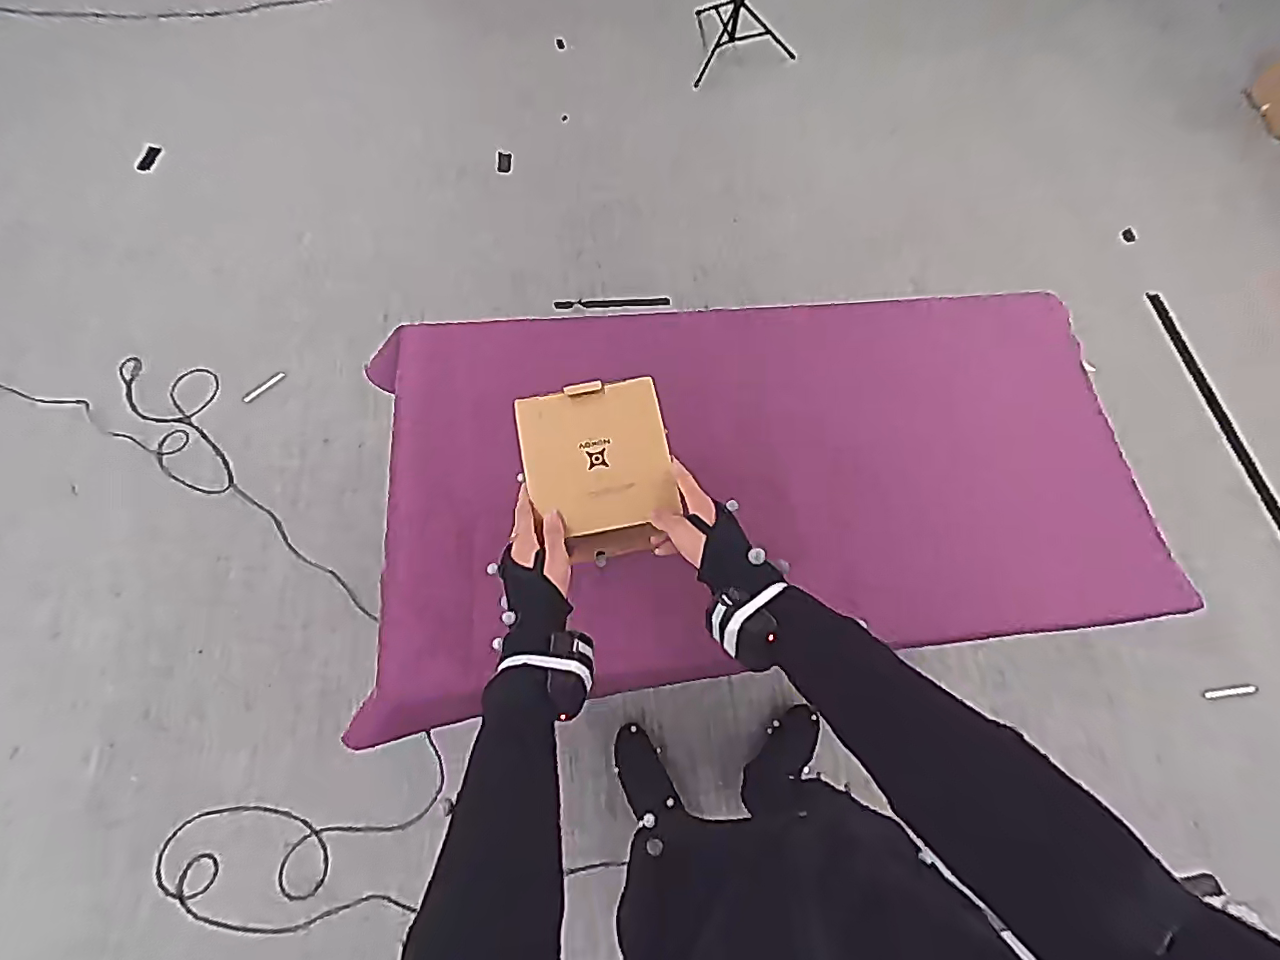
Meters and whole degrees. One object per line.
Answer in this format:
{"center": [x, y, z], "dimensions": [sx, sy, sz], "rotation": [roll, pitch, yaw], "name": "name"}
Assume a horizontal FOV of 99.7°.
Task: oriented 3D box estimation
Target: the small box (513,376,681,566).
{"center": [-0.053, -0.003, 0.673], "dimensions": [0.168, 0.176, 0.179], "rotation": [-11, 73, -4], "name": "small box"}
